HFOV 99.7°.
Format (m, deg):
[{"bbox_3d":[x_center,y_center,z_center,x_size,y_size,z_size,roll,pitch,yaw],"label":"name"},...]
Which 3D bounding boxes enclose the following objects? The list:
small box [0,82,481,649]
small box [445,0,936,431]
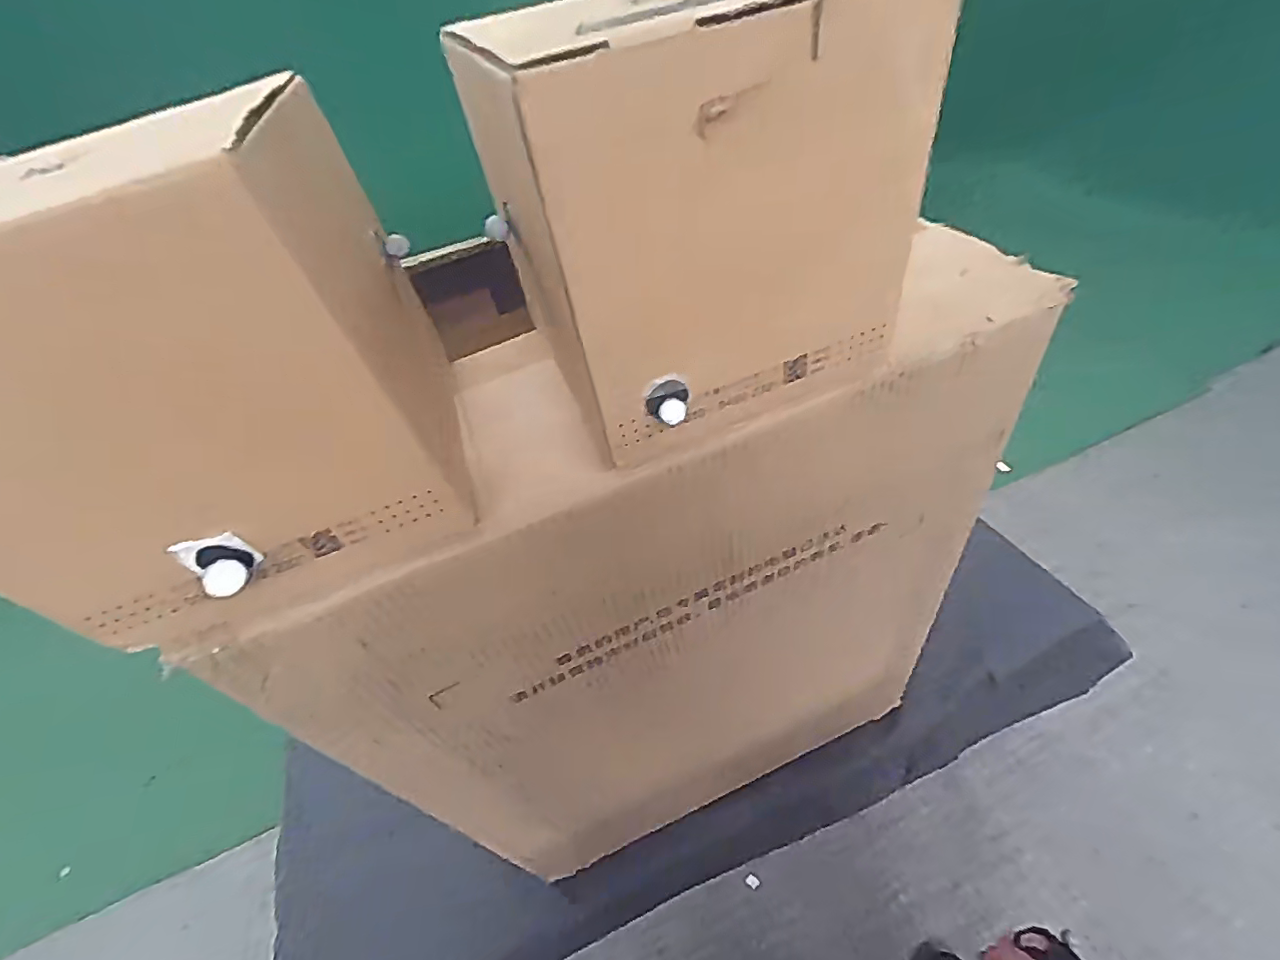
[{"bbox_3d":[-0.193,-0.056,0.255,0.168,0.176,0.179,-23,47,-7],"label":"small box"},{"bbox_3d":[0.017,-0.146,0.290,0.168,0.176,0.179,-22,45,-10],"label":"small box"}]
